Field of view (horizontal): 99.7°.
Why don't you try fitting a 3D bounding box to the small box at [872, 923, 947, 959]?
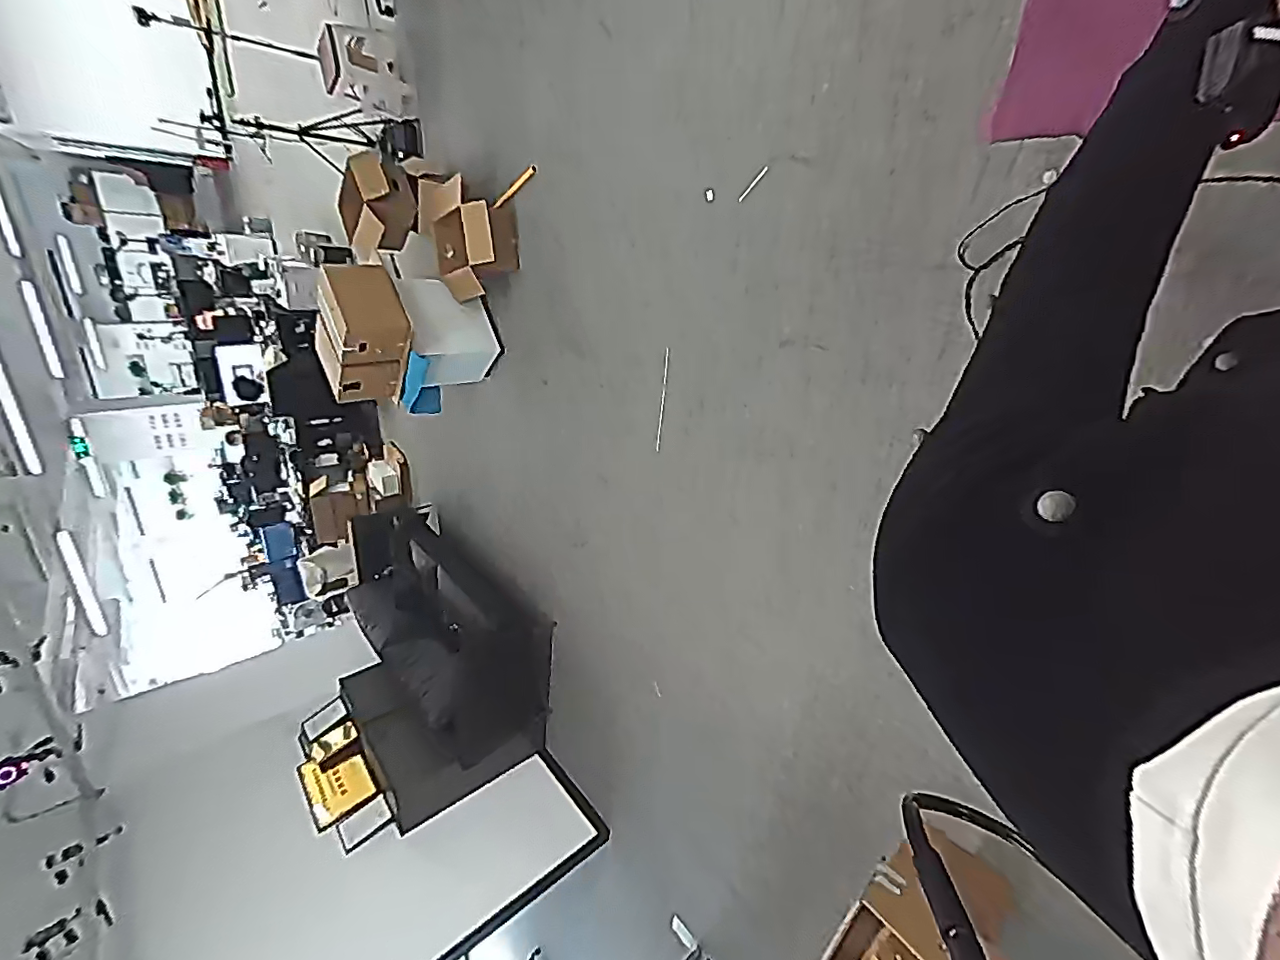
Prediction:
[{"bbox_3d":[0.707,1.323,1.420,0.179,0.176,0.168,30,124,40],"label":"small box"}]
